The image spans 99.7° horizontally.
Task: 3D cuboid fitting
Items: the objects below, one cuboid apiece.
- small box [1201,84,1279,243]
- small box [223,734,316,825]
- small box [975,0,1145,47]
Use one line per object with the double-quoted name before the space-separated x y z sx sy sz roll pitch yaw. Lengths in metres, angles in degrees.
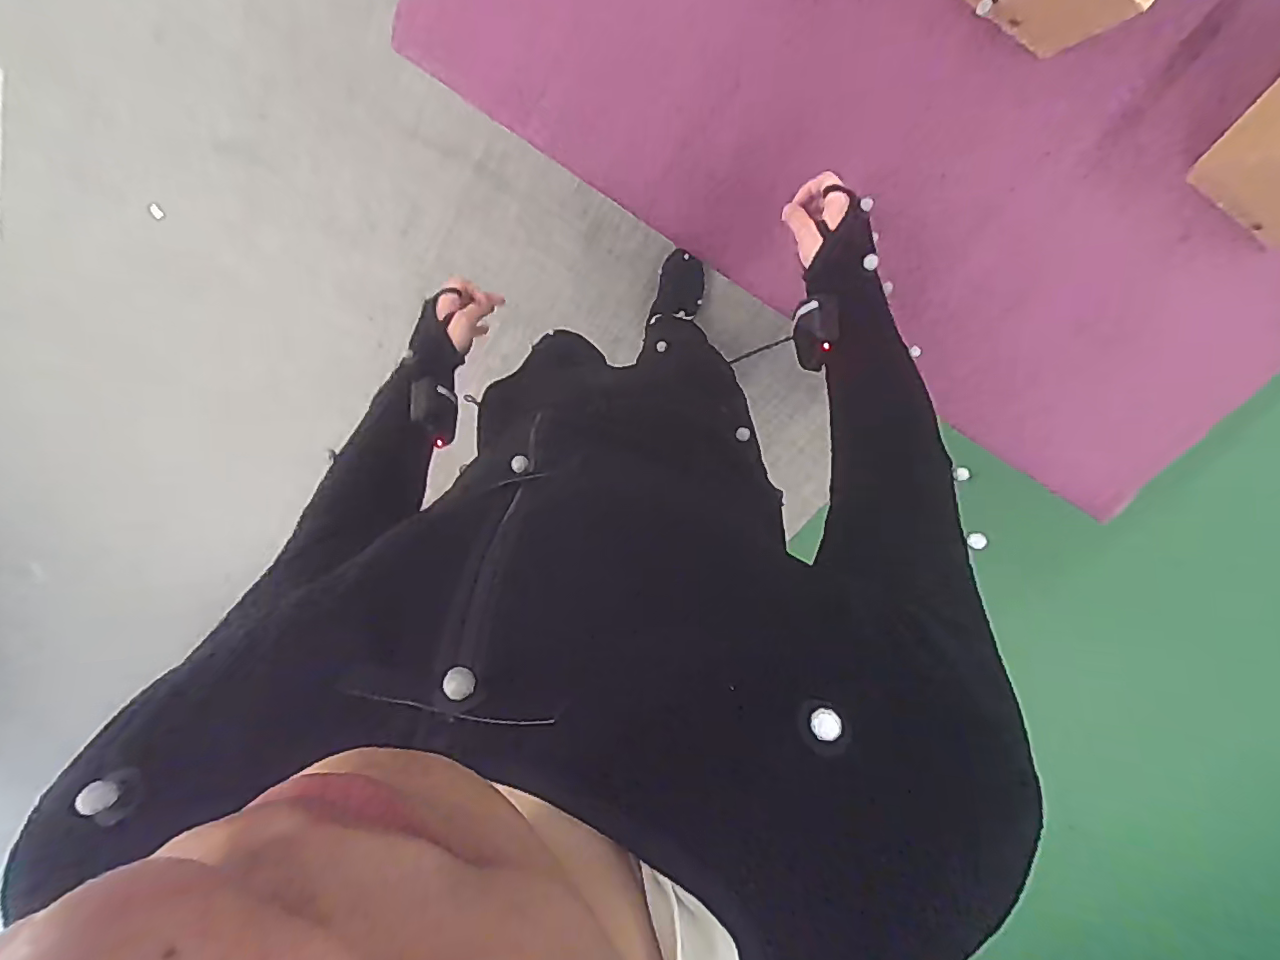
"small box" 0.751 -0.354 0.539 0.168 0.176 0.179 32 115 -7
"small box" -1.215 0.984 1.783 0.168 0.176 0.179 36 113 -9
"small box" 0.420 -0.552 0.491 0.168 0.176 0.179 30 116 -6
